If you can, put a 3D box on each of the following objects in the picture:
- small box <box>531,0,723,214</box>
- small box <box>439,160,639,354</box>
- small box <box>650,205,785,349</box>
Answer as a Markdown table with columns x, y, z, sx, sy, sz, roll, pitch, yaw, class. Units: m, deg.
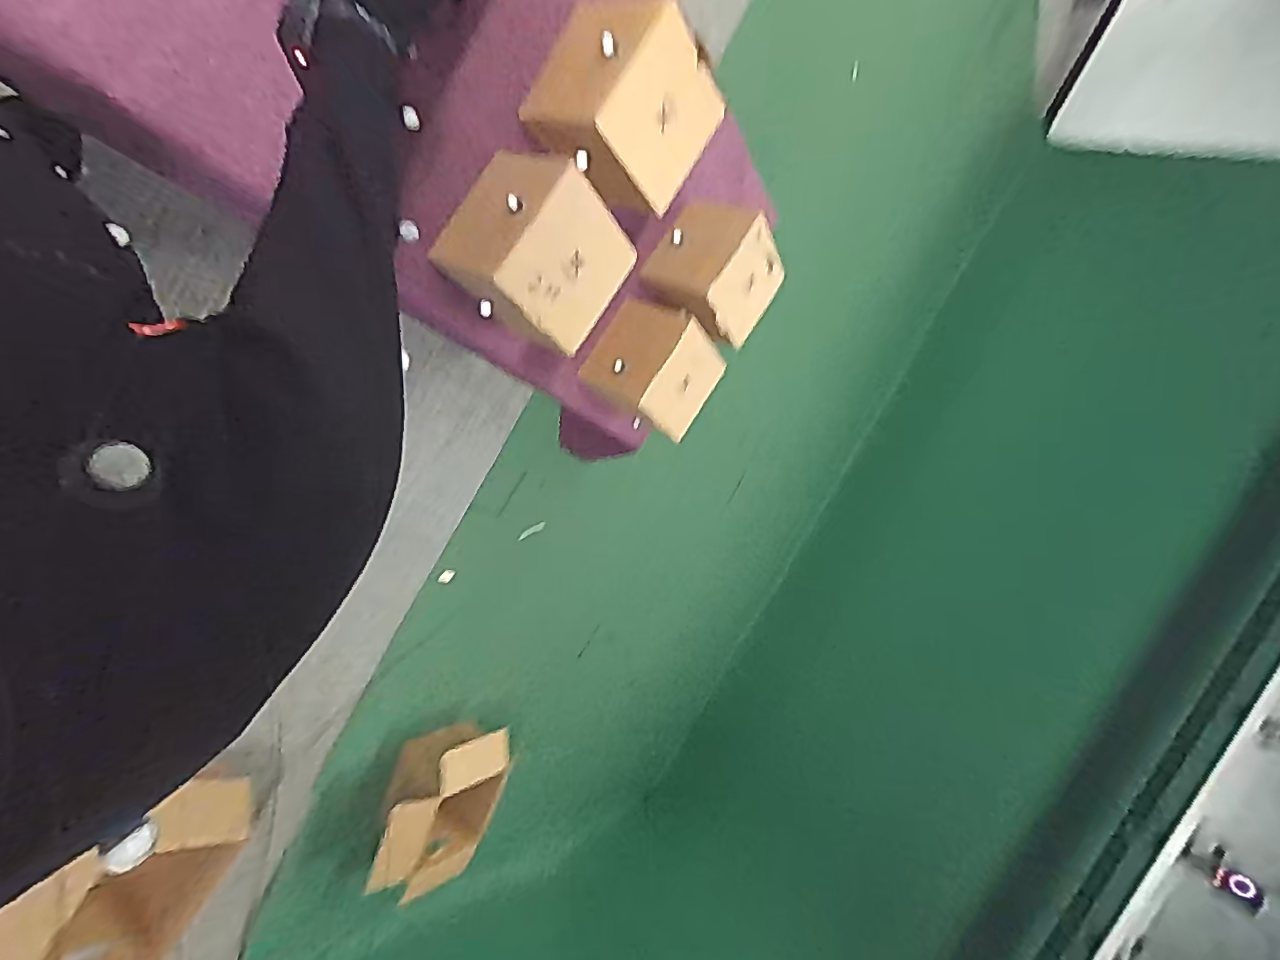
| x | y | z | sx | sy | sz | roll | pitch | yaw | class |
| --- | --- | --- | --- | --- | --- | --- | --- | --- | --- |
| -0.023 | -0.505 | 0.747 | 0.168 | 0.176 | 0.179 | 29 | 92 | -54 | small box |
| -0.140 | -0.309 | 0.745 | 0.179 | 0.176 | 0.168 | -56 | 144 | -4 | small box |
| 0.140 | -0.385 | 1.021 | 0.179 | 0.176 | 0.168 | -55 | 144 | -4 | small box |
